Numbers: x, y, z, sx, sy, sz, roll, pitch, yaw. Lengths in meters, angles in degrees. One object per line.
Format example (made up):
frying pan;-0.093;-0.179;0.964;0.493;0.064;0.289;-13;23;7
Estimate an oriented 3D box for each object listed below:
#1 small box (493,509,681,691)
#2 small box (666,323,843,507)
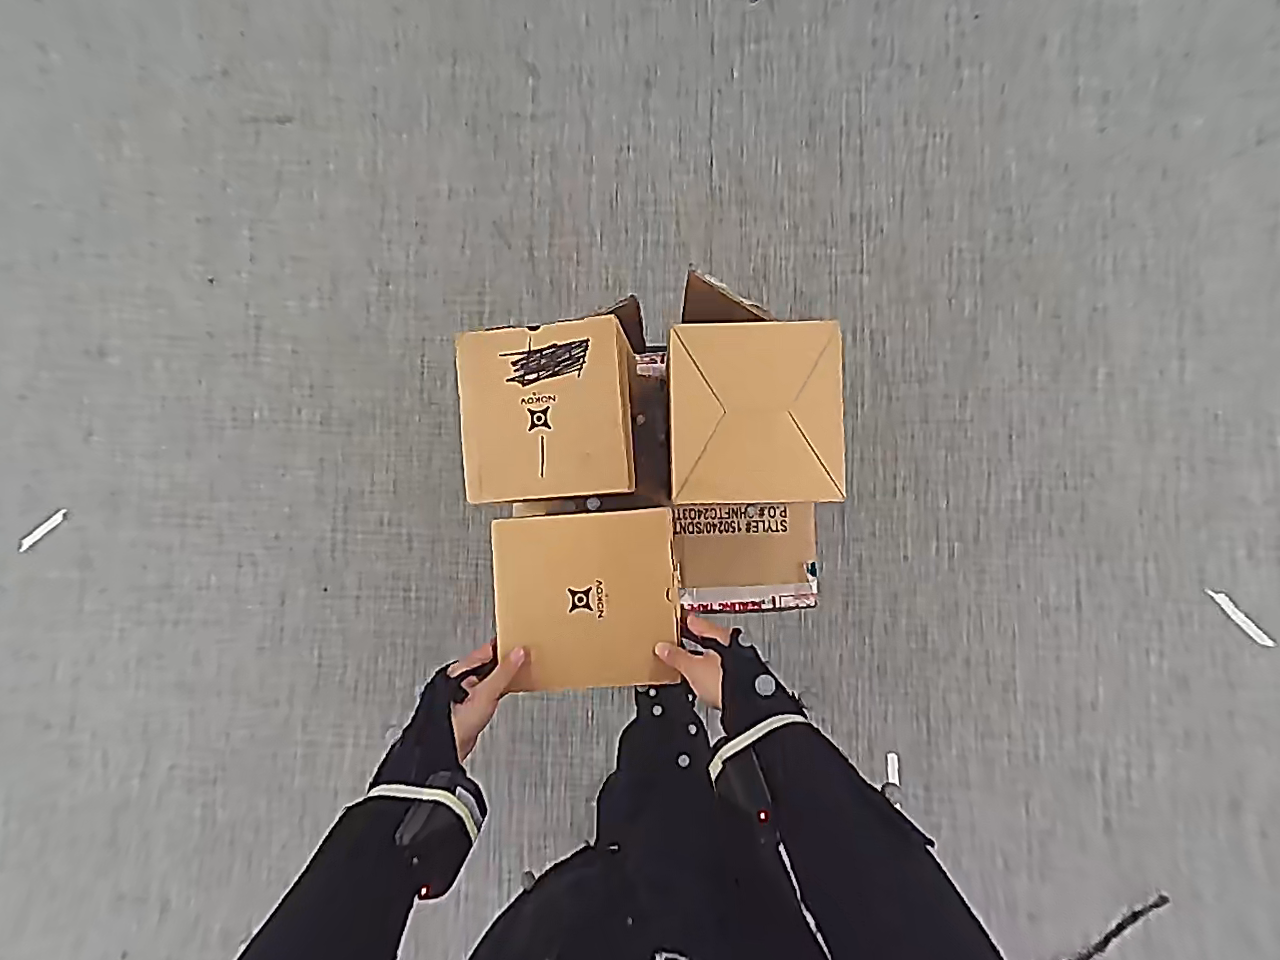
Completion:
small box;-0.049;0.121;0.594;0.179;0.176;0.168;-4;86;1
small box;0.114;-0.059;0.600;0.168;0.176;0.179;-1;88;0
